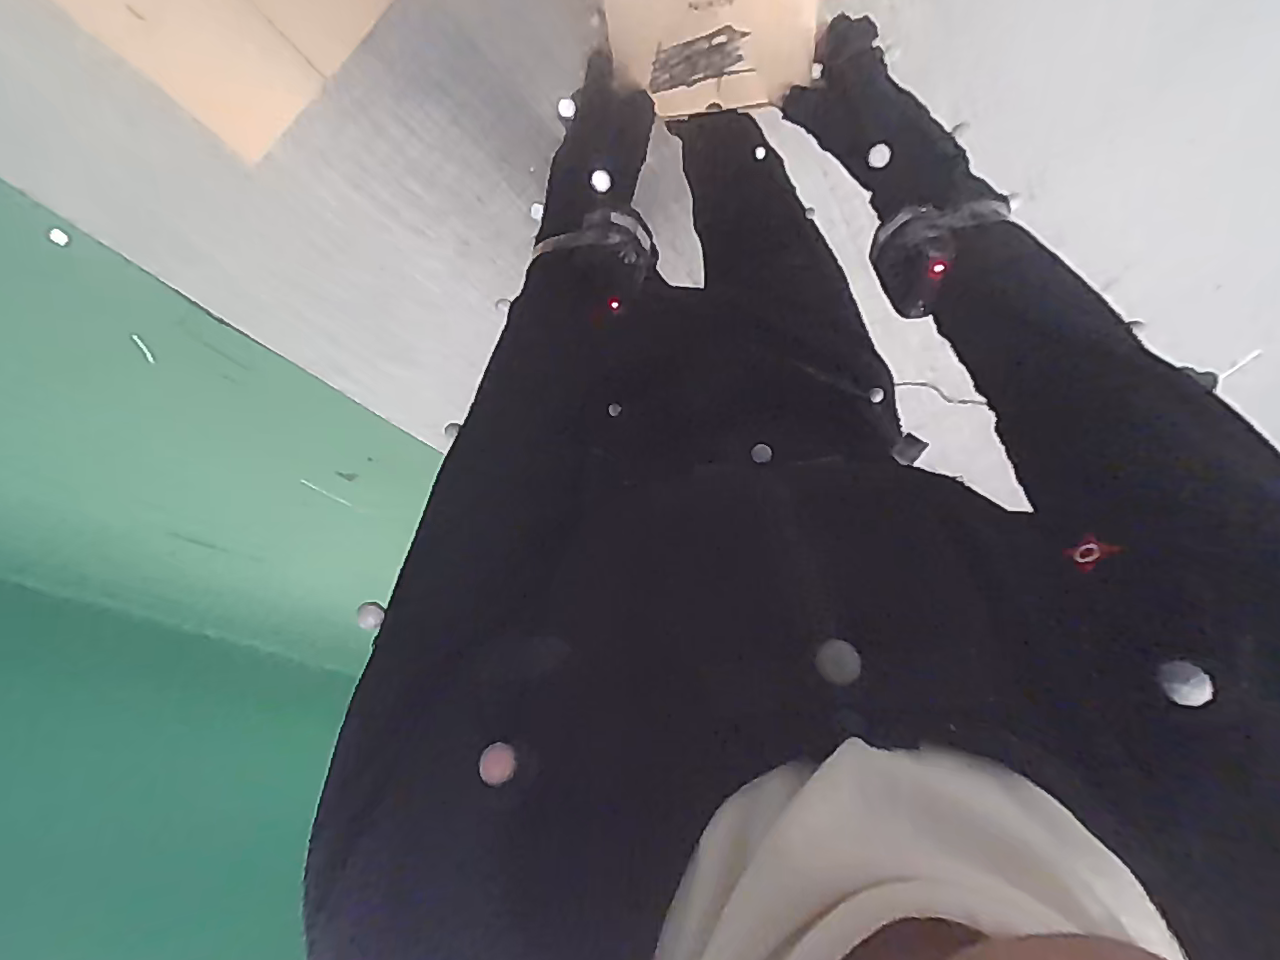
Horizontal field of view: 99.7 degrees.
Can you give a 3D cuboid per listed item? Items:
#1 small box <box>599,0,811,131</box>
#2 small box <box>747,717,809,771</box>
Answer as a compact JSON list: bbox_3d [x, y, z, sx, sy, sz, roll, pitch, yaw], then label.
[{"bbox_3d":[0.056,-0.443,0.460,0.168,0.176,0.179,-3,148,12],"label":"small box"},{"bbox_3d":[0.518,0.999,2.046,0.179,0.176,0.168,-18,142,30],"label":"small box"}]
